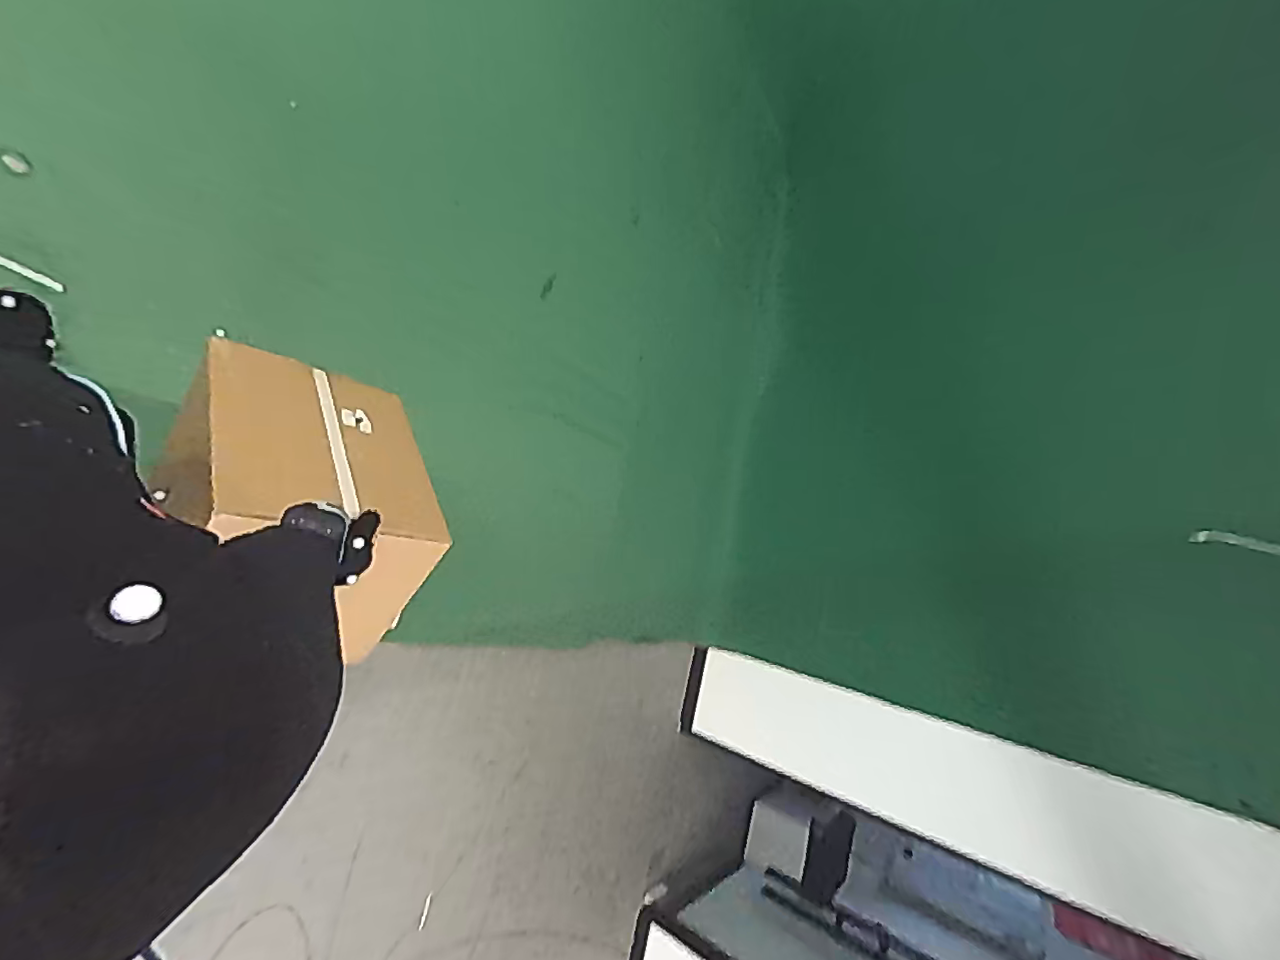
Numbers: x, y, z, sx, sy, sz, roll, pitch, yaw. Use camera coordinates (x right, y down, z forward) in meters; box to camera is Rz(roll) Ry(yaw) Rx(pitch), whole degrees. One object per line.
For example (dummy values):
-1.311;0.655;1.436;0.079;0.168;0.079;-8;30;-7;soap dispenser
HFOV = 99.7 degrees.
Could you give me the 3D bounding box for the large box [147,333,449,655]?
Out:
-0.586;0.032;0.914;0.320;0.408;0.320;-49;143;18;large box
